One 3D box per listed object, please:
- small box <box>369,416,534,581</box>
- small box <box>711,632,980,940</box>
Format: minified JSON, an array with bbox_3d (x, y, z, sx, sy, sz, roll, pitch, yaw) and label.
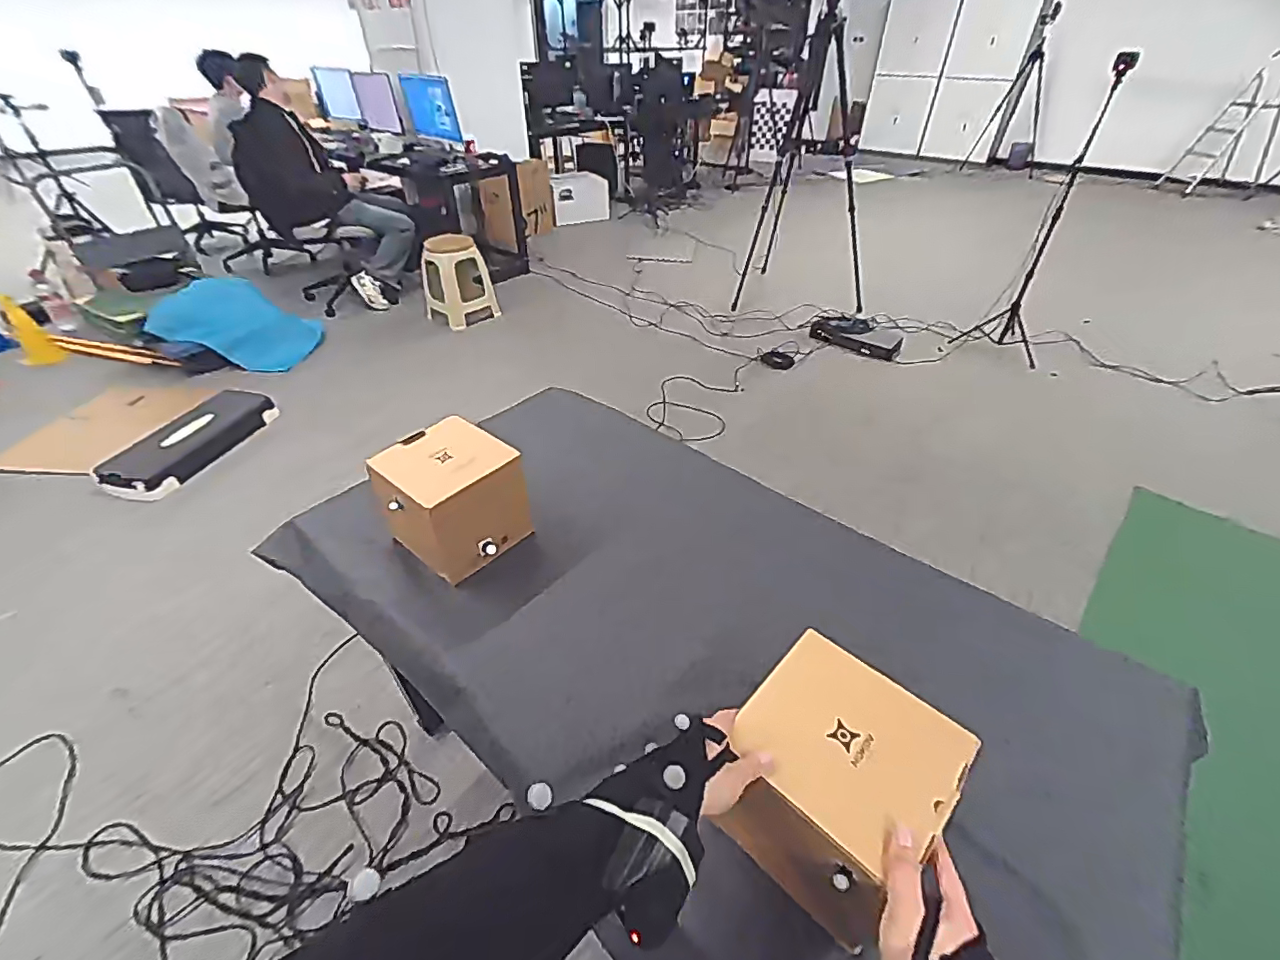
[{"bbox_3d":[-0.292,0.029,0.865,0.179,0.176,0.168,28,48,29],"label":"small box"},{"bbox_3d":[0.187,0.296,0.533,0.179,0.176,0.168,31,48,32],"label":"small box"}]
